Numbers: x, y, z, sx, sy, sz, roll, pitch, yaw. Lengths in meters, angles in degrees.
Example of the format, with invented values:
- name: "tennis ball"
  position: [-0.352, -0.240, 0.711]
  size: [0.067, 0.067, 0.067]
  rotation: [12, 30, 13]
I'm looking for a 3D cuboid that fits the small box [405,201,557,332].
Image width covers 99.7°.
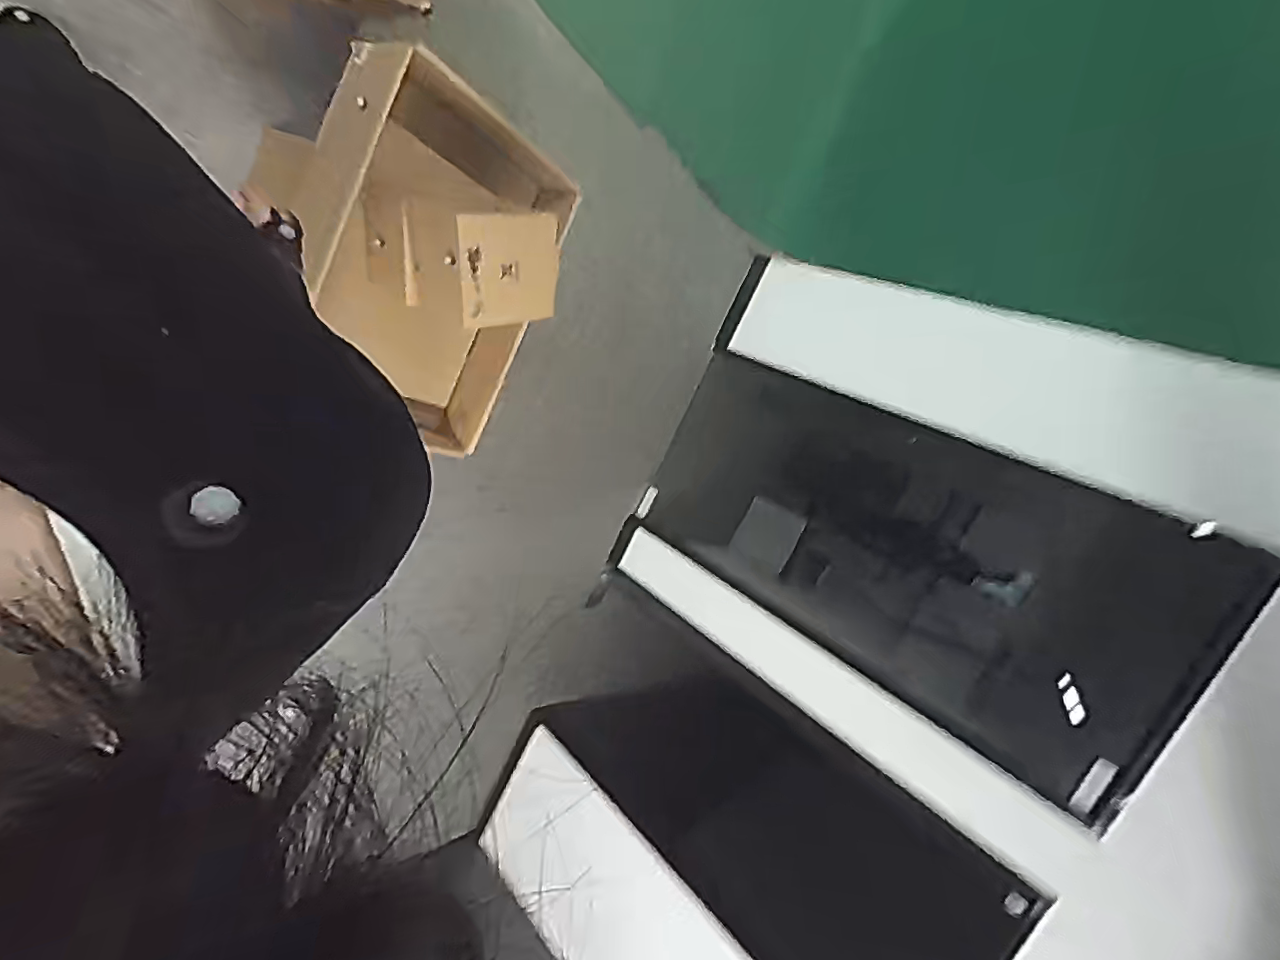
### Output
- name: "small box"
  position: [-0.260, -0.356, 0.891]
  size: [0.179, 0.176, 0.168]
  rotation: [-23, 133, -40]

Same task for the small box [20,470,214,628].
- name: "small box"
  position: [-0.899, 0.113, 0.938]
  size: [0.168, 0.176, 0.179]
  rotation: [-41, 140, -22]

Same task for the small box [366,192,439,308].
- name: "small box"
  position: [-0.383, -0.414, 0.984]
  size: [0.179, 0.176, 0.168]
  rotation: [-17, 129, -44]
